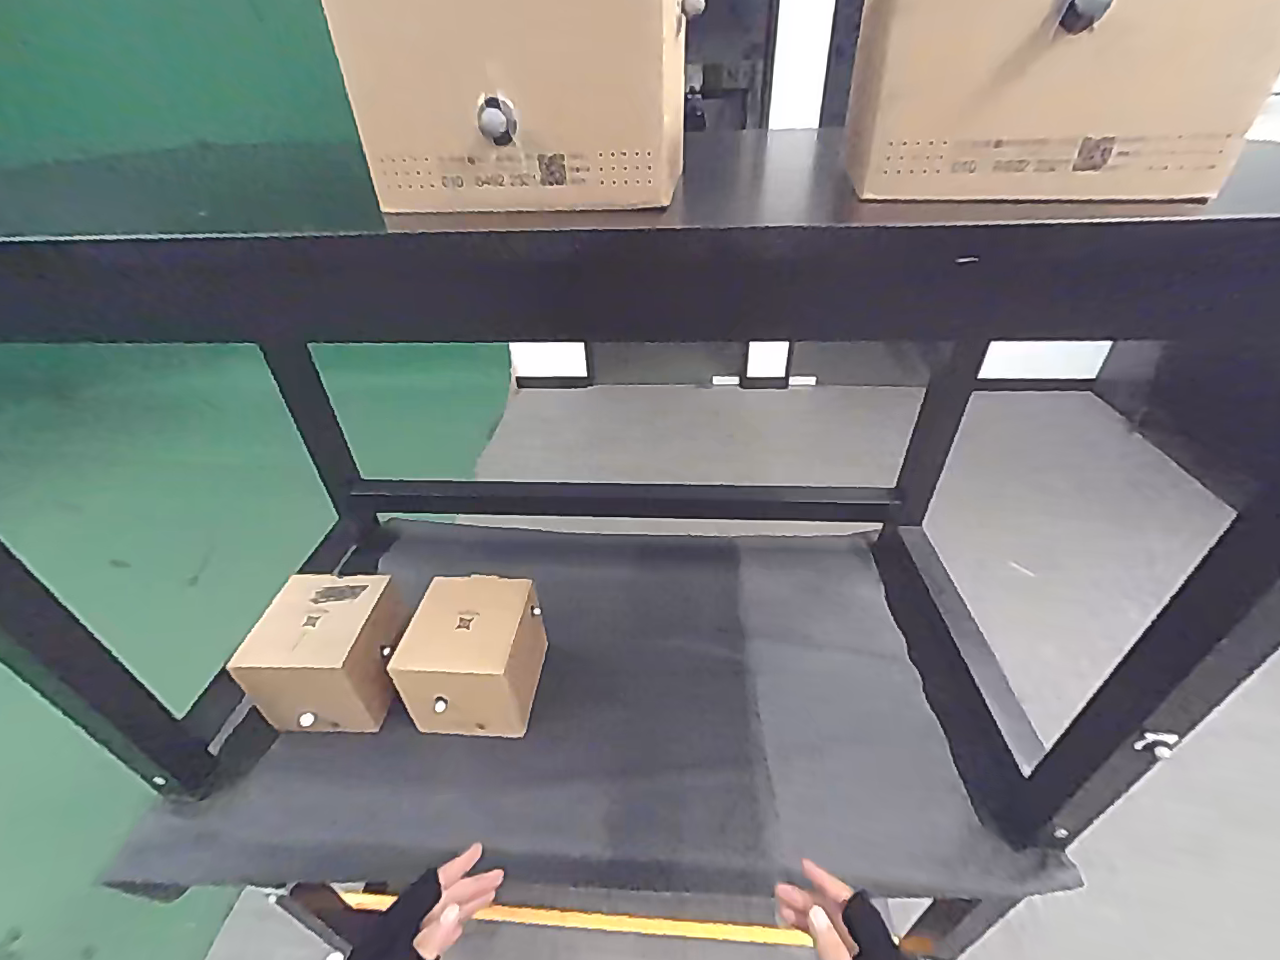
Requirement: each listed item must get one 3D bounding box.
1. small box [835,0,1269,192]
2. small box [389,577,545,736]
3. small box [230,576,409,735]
[{"bbox_3d":[0.212,-0.265,0.303,0.168,0.176,0.179,6,36,11],"label":"small box"},{"bbox_3d":[-0.252,0.273,0.839,0.168,0.176,0.179,1,35,4],"label":"small box"},{"bbox_3d":[-0.478,0.272,0.850,0.168,0.176,0.179,-1,36,2],"label":"small box"}]
